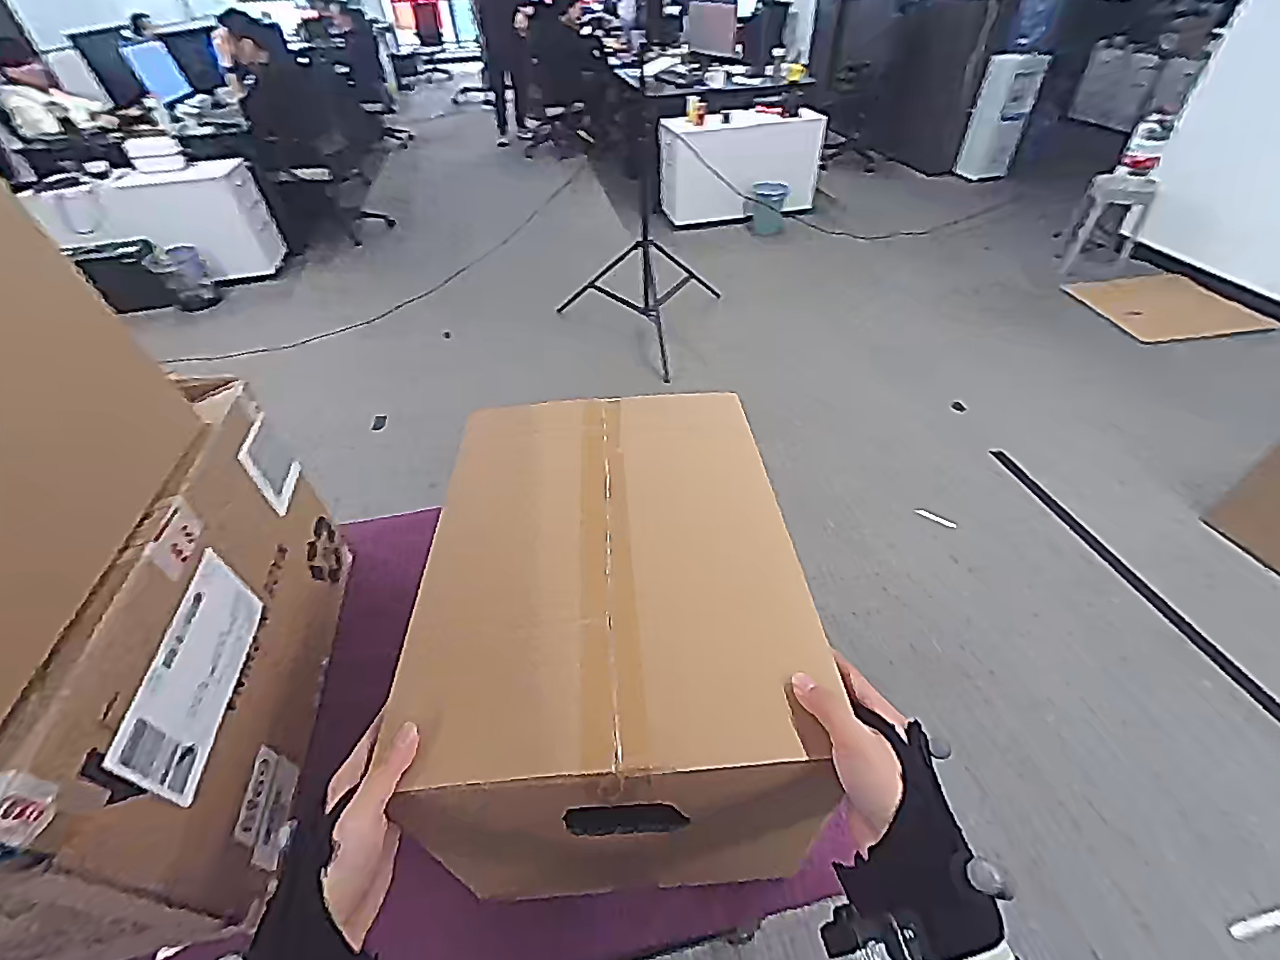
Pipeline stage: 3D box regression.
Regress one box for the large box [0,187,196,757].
[{"bbox_3d":[-0.607,-0.005,0.349,0.320,0.320,0.408,-12,45,-3],"label":"large box"}]
